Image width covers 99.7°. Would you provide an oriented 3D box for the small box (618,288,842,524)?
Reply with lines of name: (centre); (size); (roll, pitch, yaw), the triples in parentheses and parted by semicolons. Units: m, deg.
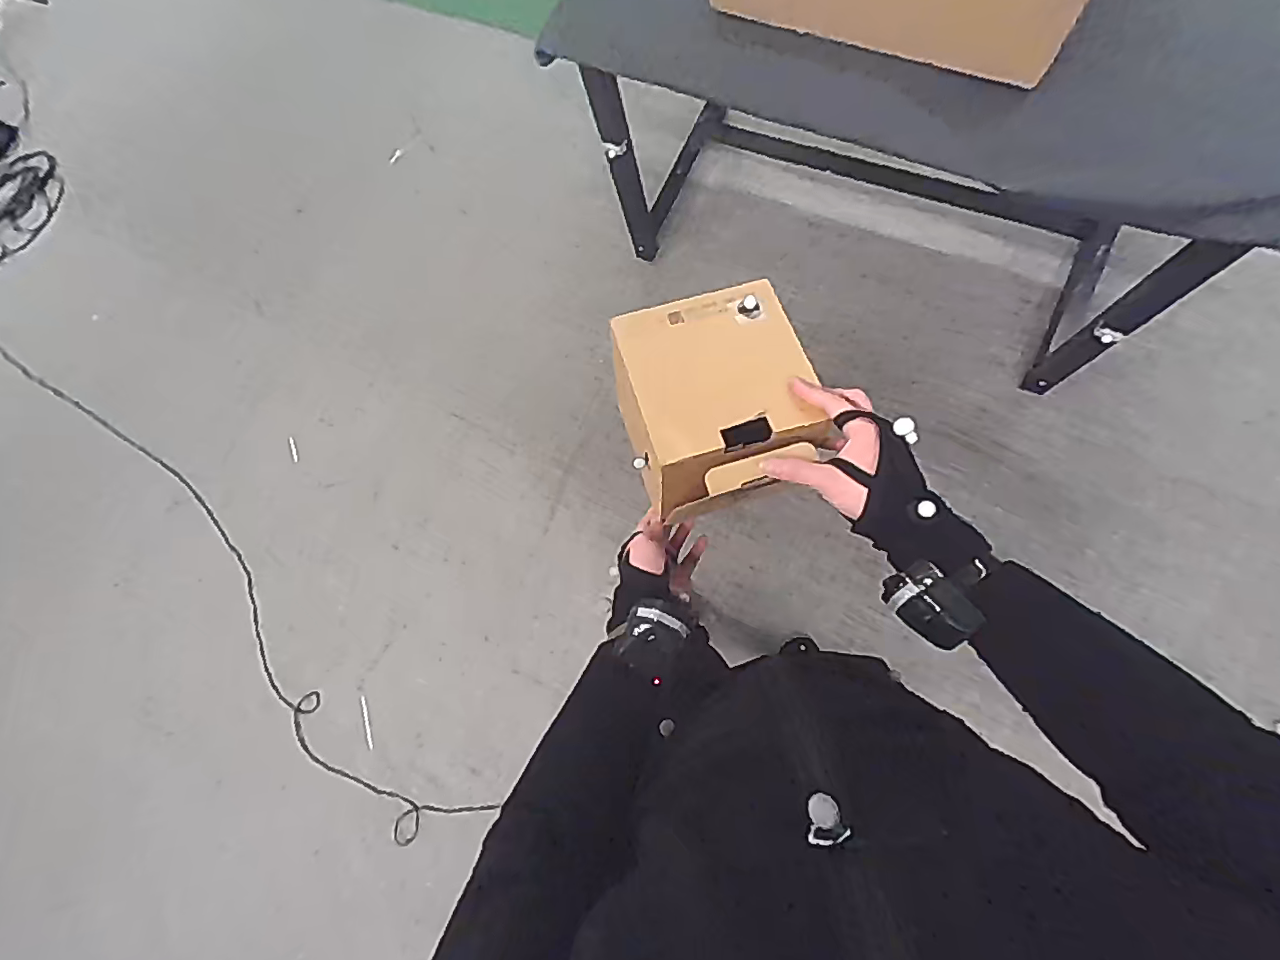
small box: (0.076, -0.078, 0.567); (0.168, 0.179, 0.176); (-15, 68, -6)
